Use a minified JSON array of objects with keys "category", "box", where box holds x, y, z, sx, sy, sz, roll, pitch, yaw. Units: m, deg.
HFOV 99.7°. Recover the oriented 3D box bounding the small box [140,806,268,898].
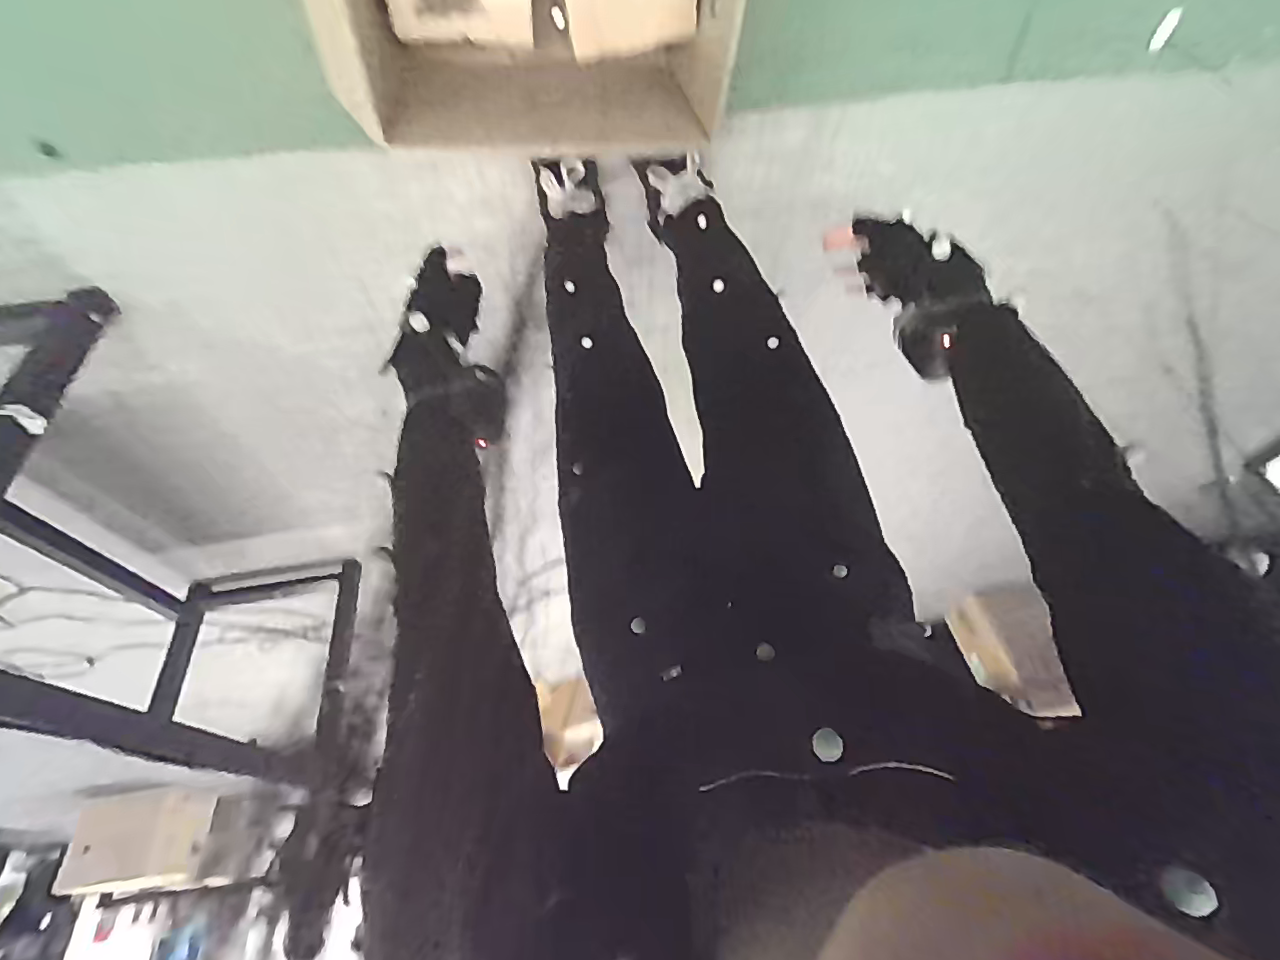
[{"category":"small box","box":[-1.101,0.951,1.383,0.179,0.176,0.168,-5,144,-6]}]
